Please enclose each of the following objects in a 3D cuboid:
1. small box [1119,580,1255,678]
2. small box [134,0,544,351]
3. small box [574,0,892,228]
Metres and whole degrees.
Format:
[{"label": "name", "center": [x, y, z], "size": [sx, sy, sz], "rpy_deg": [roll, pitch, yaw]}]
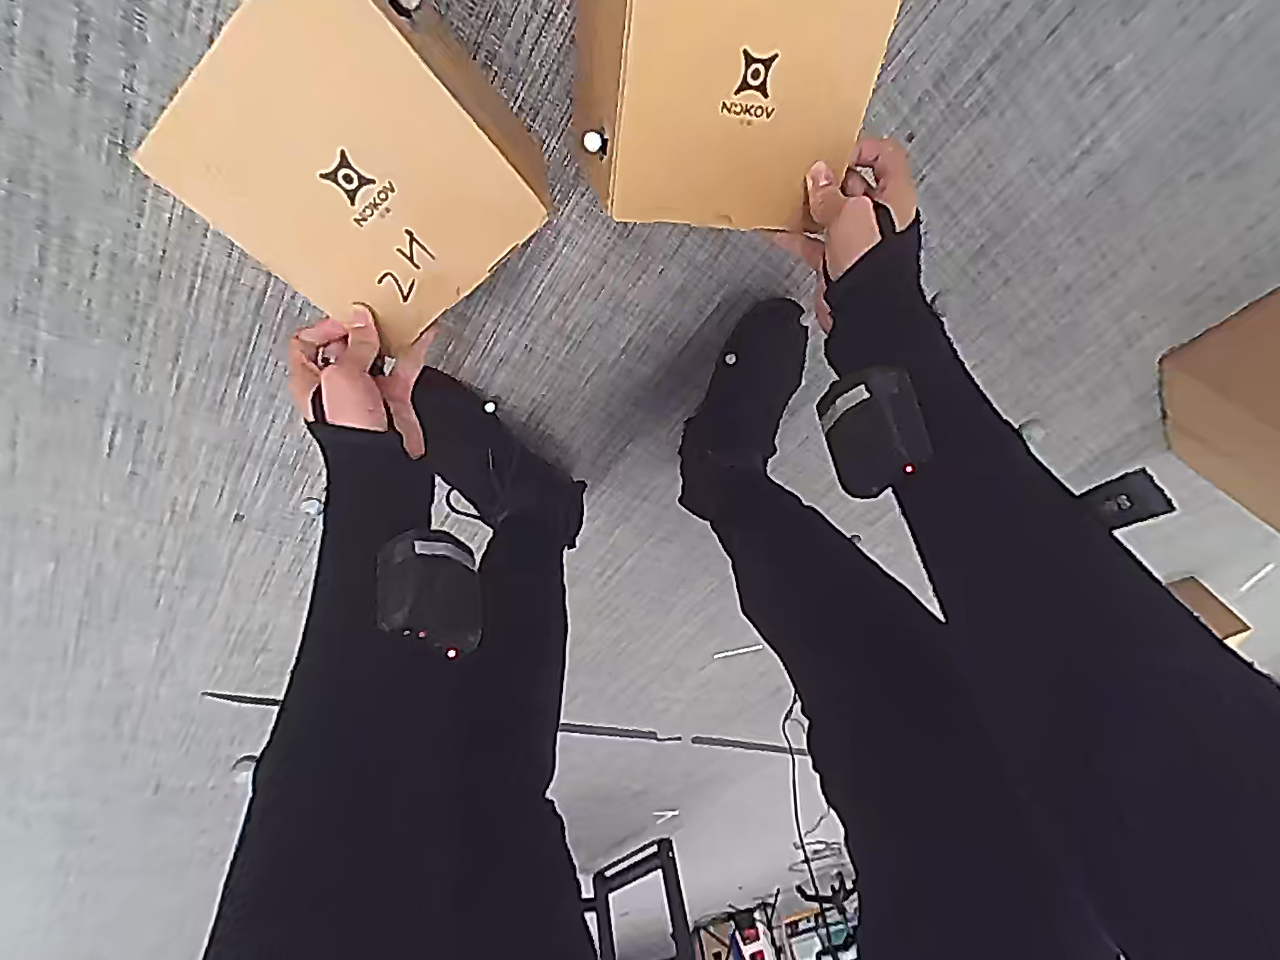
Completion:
[{"label": "small box", "center": [1.461, 0.400, 1.461], "size": [0.179, 0.176, 0.168], "rpy_deg": [-23, 134, 8]}, {"label": "small box", "center": [-0.192, -0.238, 0.397], "size": [0.168, 0.176, 0.179], "rpy_deg": [-33, 132, 18]}, {"label": "small box", "center": [0.048, -0.307, 0.394], "size": [0.168, 0.176, 0.179], "rpy_deg": [-4, 135, -15]}]
